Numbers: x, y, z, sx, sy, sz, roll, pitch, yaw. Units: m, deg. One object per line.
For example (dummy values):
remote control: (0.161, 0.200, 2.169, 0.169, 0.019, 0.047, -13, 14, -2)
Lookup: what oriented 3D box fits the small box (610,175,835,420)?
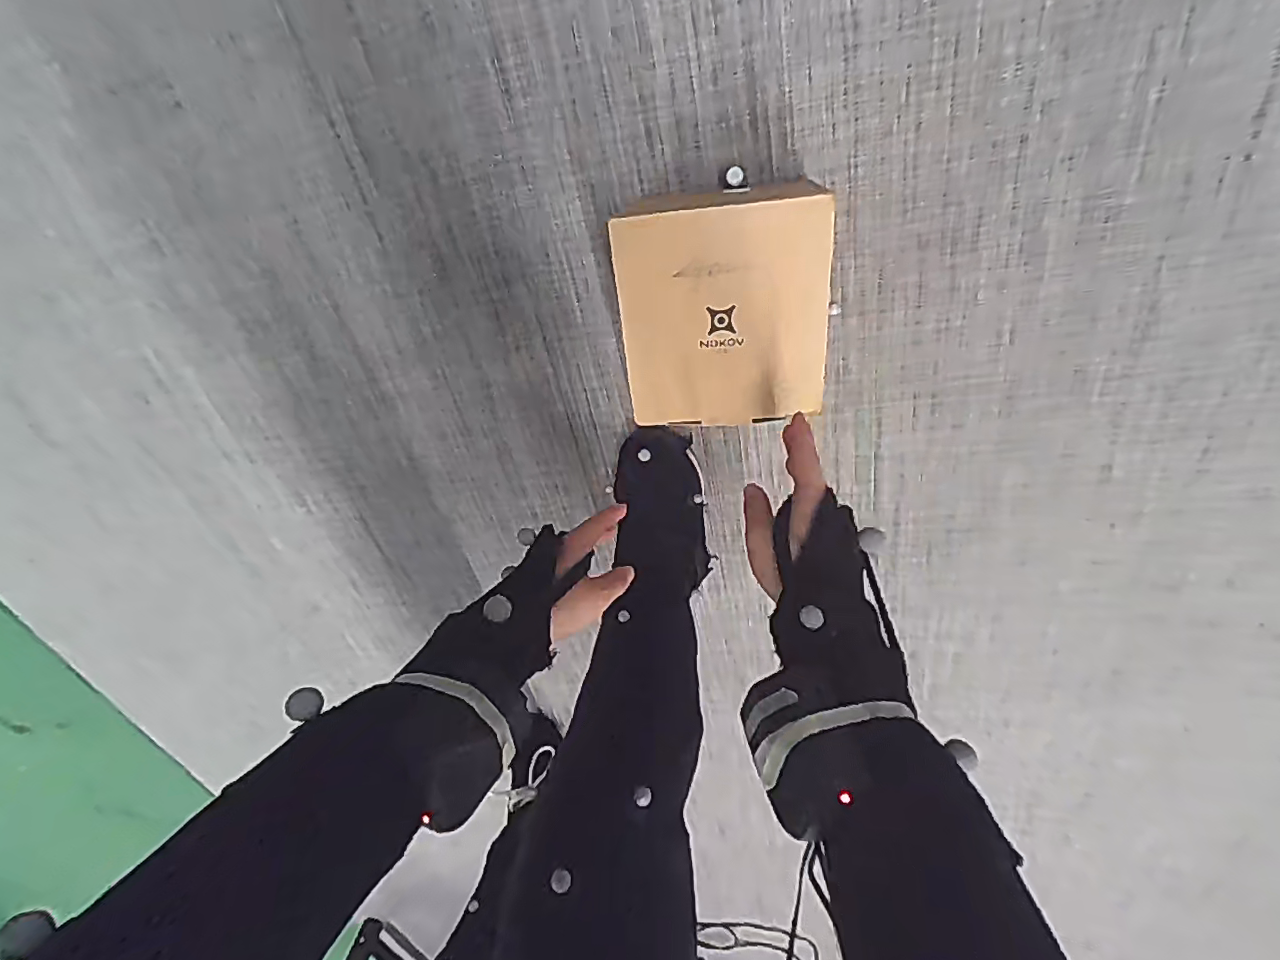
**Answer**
small box: (0.077, -0.172, 0.501, 0.168, 0.176, 0.179, -2, 121, 10)
